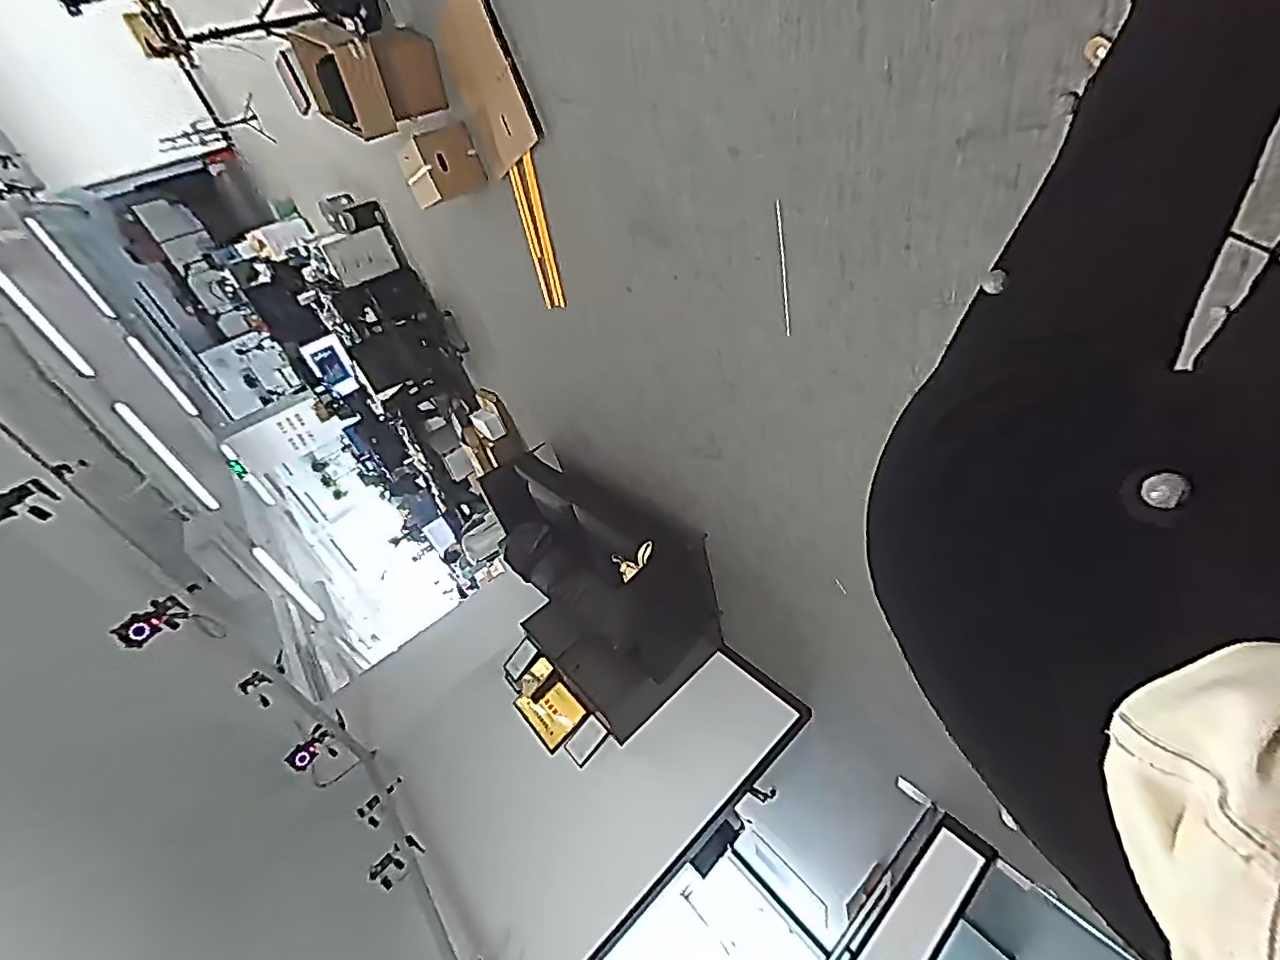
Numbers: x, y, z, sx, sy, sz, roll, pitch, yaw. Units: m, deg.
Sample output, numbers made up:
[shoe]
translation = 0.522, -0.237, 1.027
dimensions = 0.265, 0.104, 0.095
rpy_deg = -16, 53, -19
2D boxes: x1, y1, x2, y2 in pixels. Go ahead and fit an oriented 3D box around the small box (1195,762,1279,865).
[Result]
[small box]
translation = 1.796, 0.963, 1.580
dimensions = 0.179, 0.176, 0.168
rpy_deg = 29, 147, 43
